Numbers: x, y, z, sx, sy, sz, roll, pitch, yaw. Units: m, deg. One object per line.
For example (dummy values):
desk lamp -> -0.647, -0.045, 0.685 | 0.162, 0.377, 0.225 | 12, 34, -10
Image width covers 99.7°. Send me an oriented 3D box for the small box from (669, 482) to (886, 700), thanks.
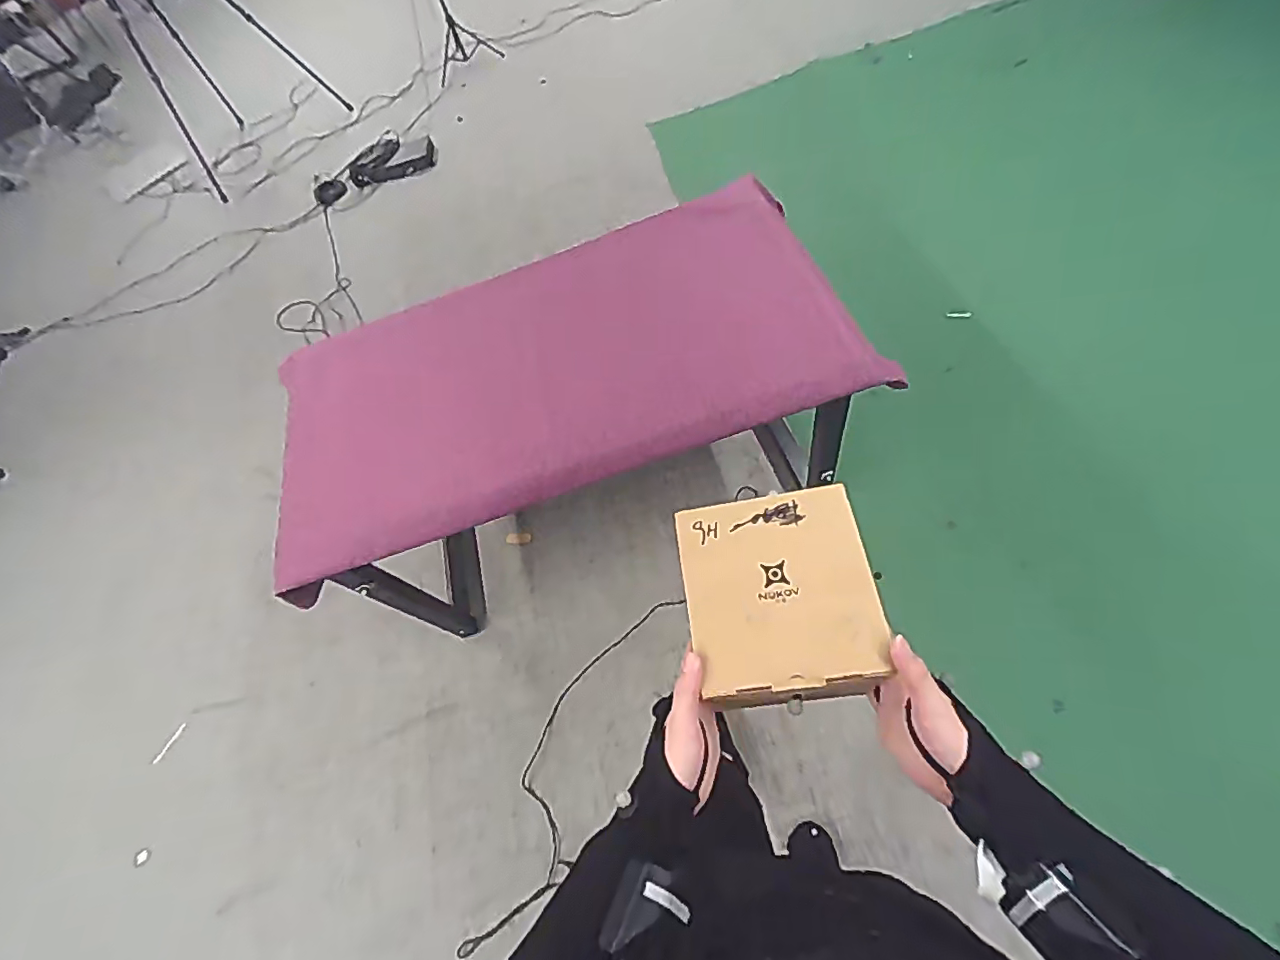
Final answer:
small box -> 0.133, 0.125, 0.558 | 0.168, 0.176, 0.179 | -11, 63, 8
